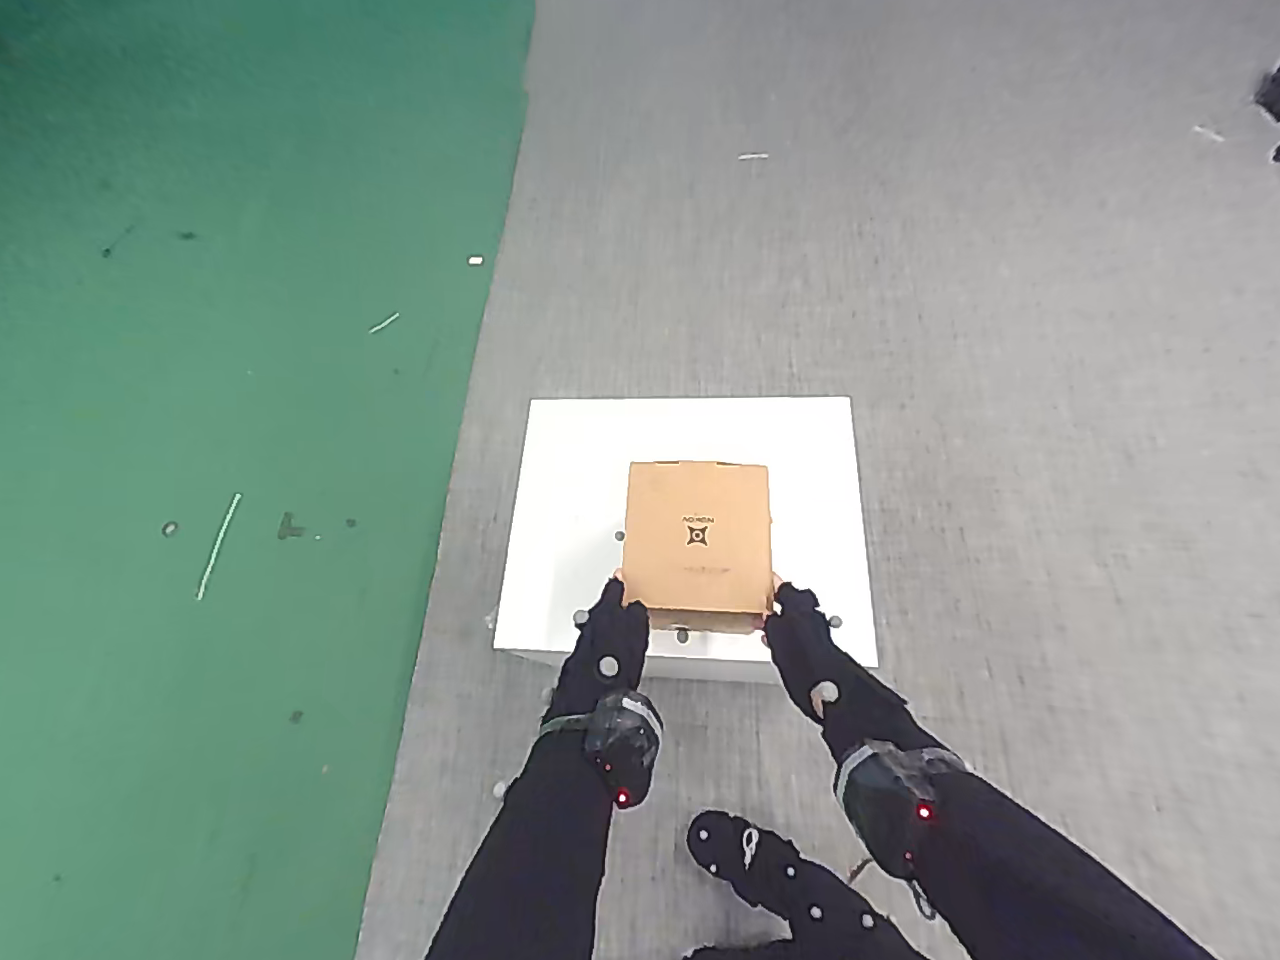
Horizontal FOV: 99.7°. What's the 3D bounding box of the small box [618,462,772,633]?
[{"bbox_3d":[0.068,0.089,0.675,0.168,0.176,0.179,0,68,6],"label":"small box"}]
